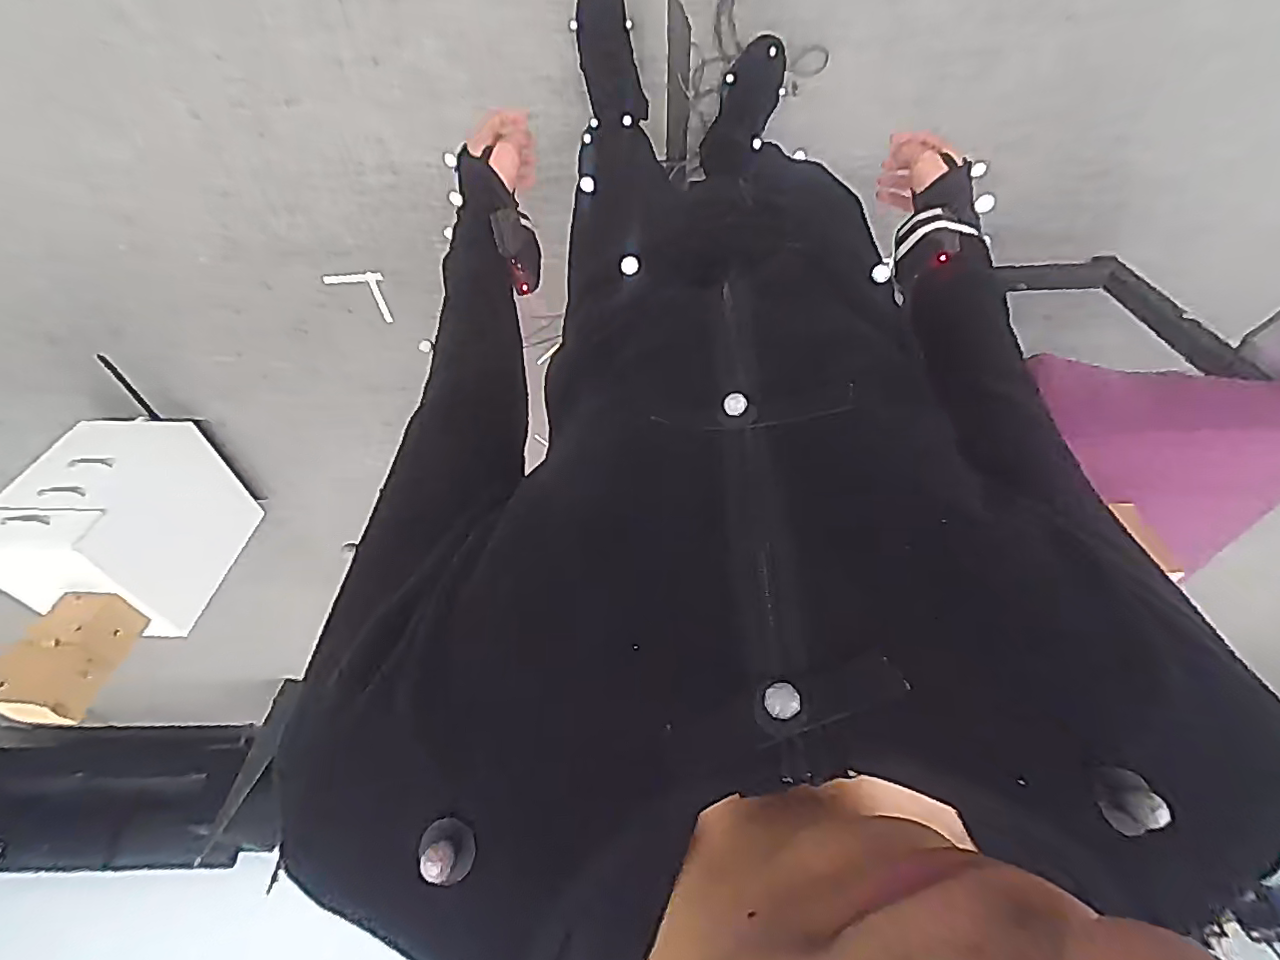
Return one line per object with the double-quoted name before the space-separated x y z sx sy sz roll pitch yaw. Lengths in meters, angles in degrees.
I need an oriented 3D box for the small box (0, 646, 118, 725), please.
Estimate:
"small box" -1.703 0.595 1.572 0.179 0.176 0.168 2 138 0
